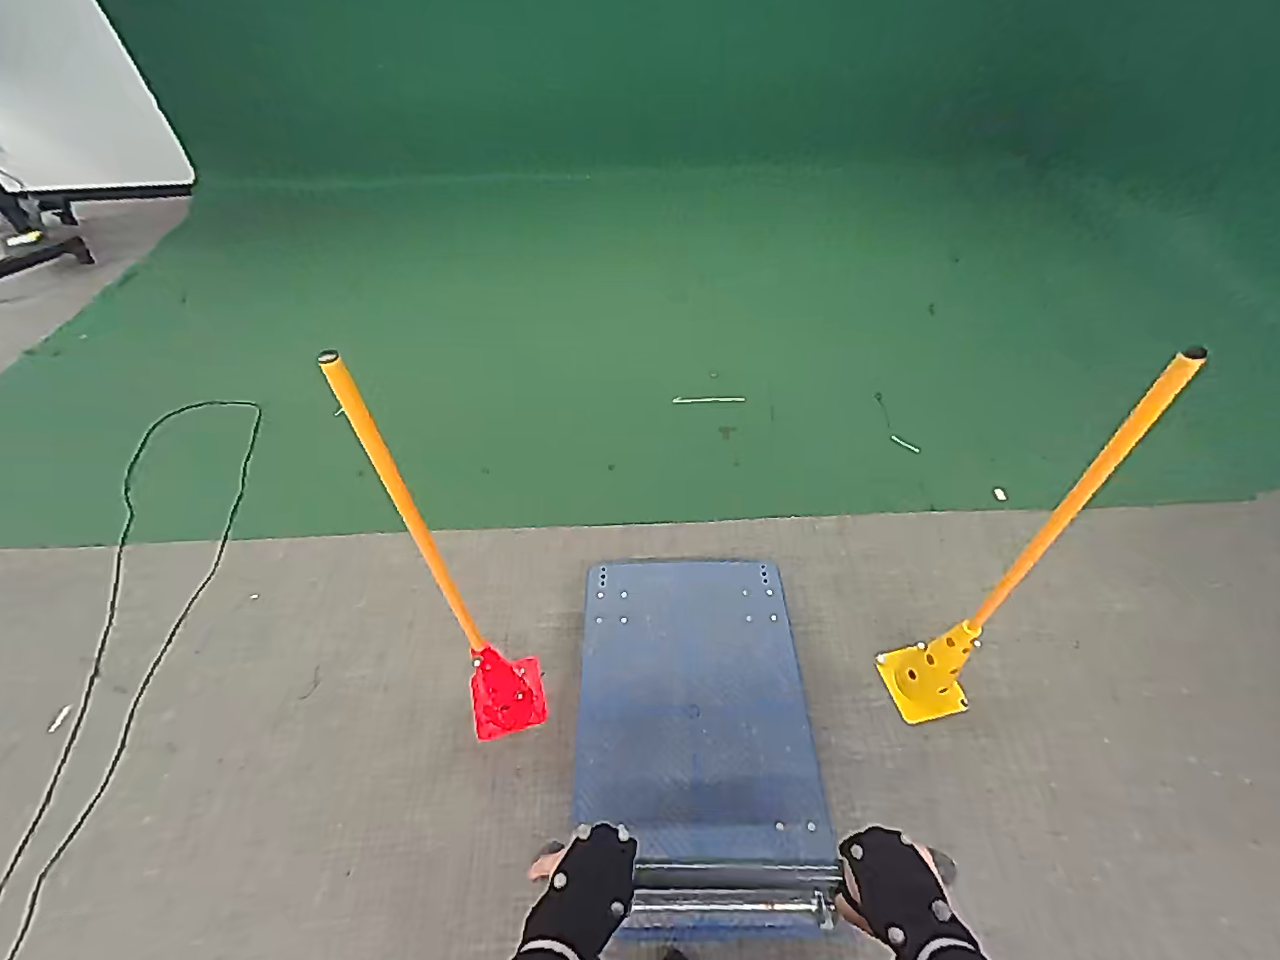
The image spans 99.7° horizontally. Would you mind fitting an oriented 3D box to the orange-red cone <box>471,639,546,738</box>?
[{"bbox_3d":[-0.381,0.510,1.418,0.199,0.360,0.198,-14,50,-9],"label":"orange-red cone"}]
